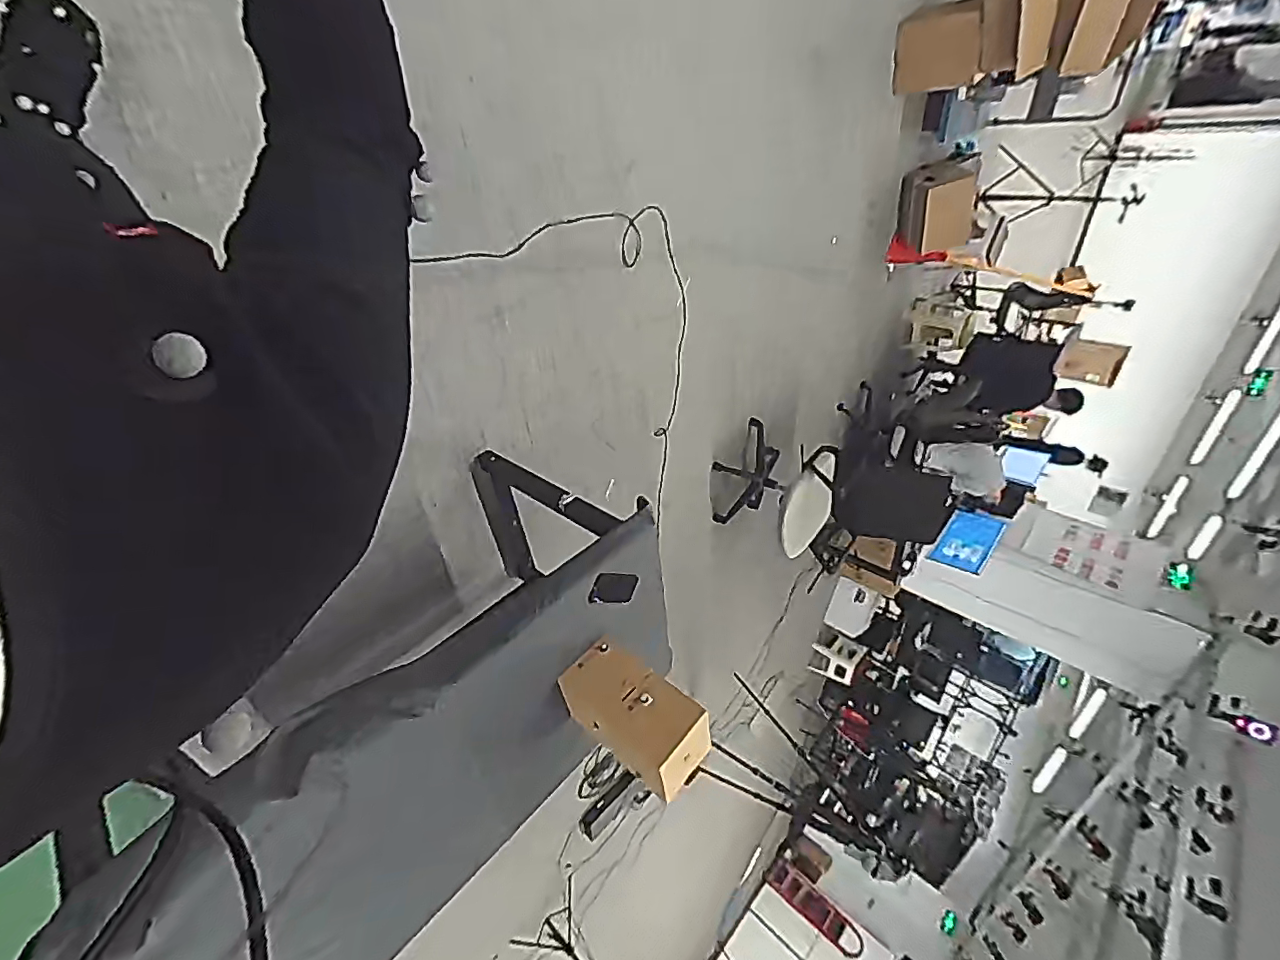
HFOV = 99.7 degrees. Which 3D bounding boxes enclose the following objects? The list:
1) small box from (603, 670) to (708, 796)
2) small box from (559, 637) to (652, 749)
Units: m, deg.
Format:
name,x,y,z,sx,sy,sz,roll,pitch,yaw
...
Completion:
name,x,y,z,sx,sy,sz,roll,pitch,yaw
small box,0.037,0.576,1.250,0.168,0.176,0.179,-40,136,-32
small box,-0.080,0.519,1.346,0.168,0.176,0.179,-38,137,-32
